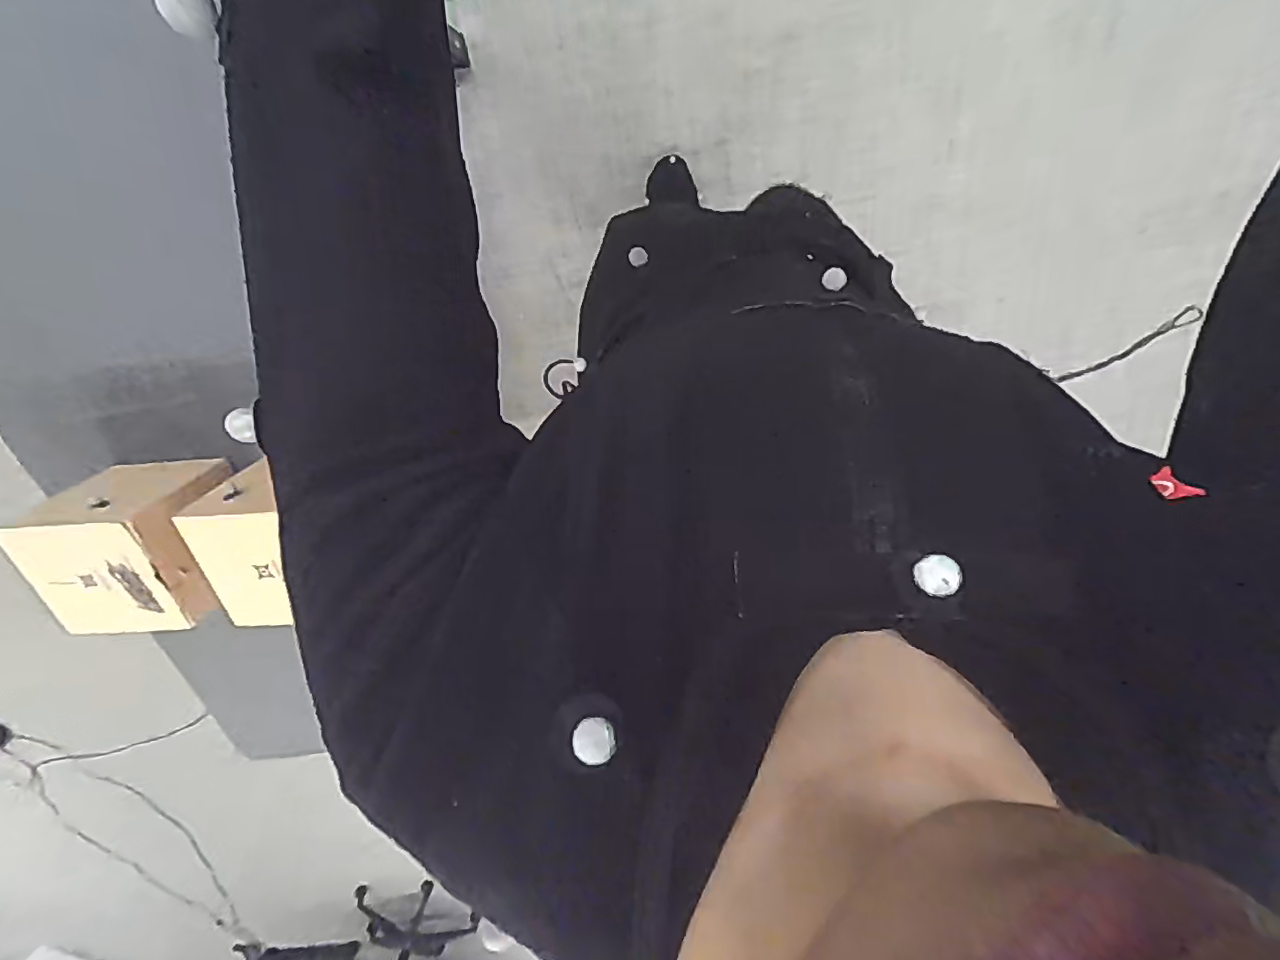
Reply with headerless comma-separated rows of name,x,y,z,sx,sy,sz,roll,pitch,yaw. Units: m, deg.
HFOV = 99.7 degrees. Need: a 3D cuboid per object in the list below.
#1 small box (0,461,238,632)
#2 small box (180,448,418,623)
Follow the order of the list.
small box,-0.656,0.083,0.733,0.179,0.176,0.168,-4,118,5
small box,-0.428,0.068,0.714,0.179,0.176,0.168,-4,118,5
